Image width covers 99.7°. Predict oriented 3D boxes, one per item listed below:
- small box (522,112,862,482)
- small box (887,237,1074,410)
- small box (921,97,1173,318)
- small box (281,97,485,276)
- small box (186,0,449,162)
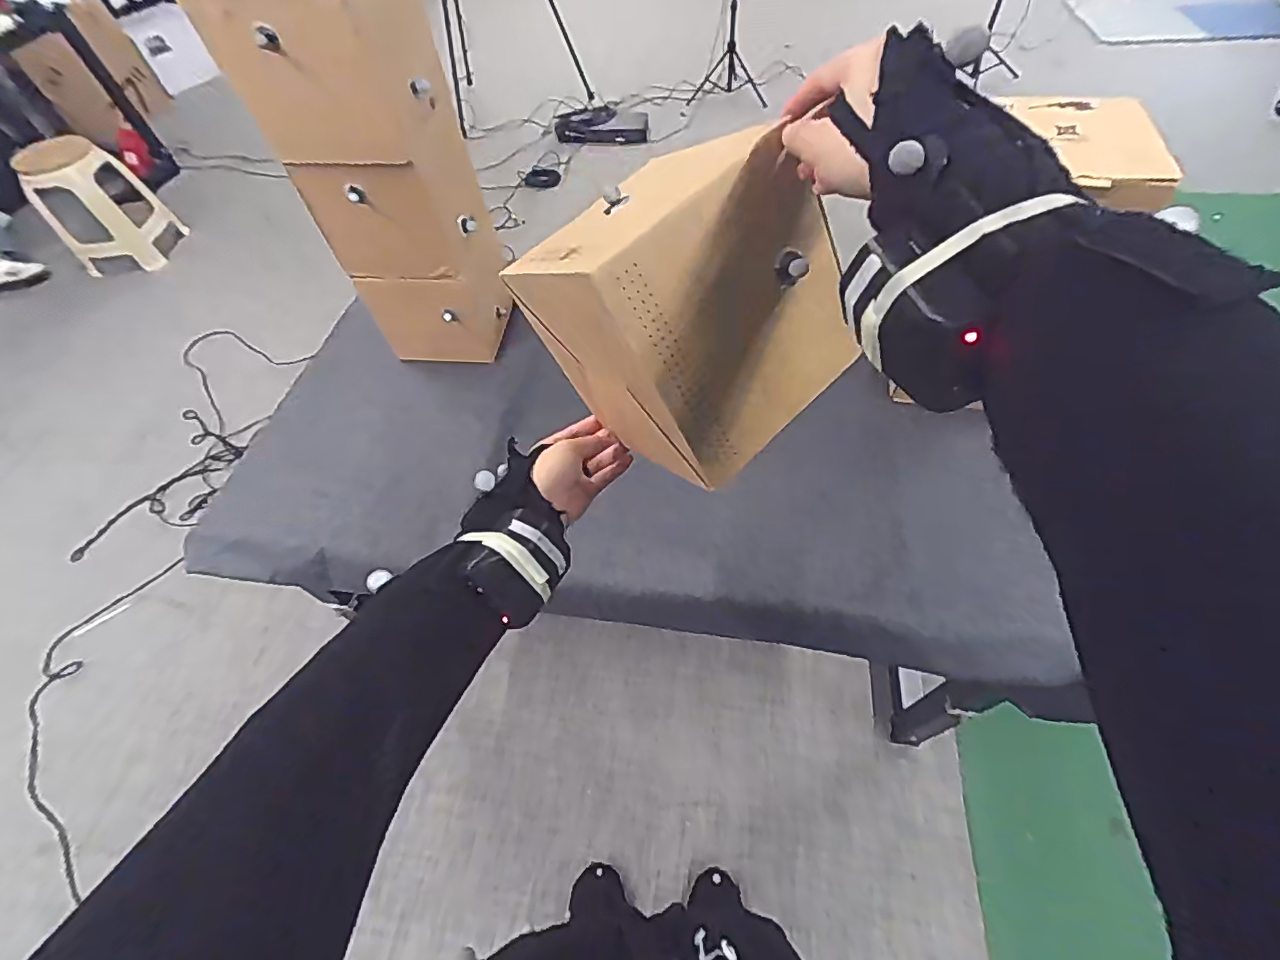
[{"bbox_3d":[0.030,-0.129,0.414,0.176,0.179,0.168,-41,33,-11],"label":"small box"},{"bbox_3d":[0.460,-0.225,0.767,0.168,0.176,0.179,8,58,10],"label":"small box"},{"bbox_3d":[0.444,-0.311,0.628,0.168,0.176,0.179,8,59,10],"label":"small box"},{"bbox_3d":[-0.341,-0.406,0.758,0.179,0.176,0.168,3,58,5],"label":"small box"},{"bbox_3d":[-0.349,-0.488,0.615,0.179,0.176,0.168,5,58,6],"label":"small box"}]
